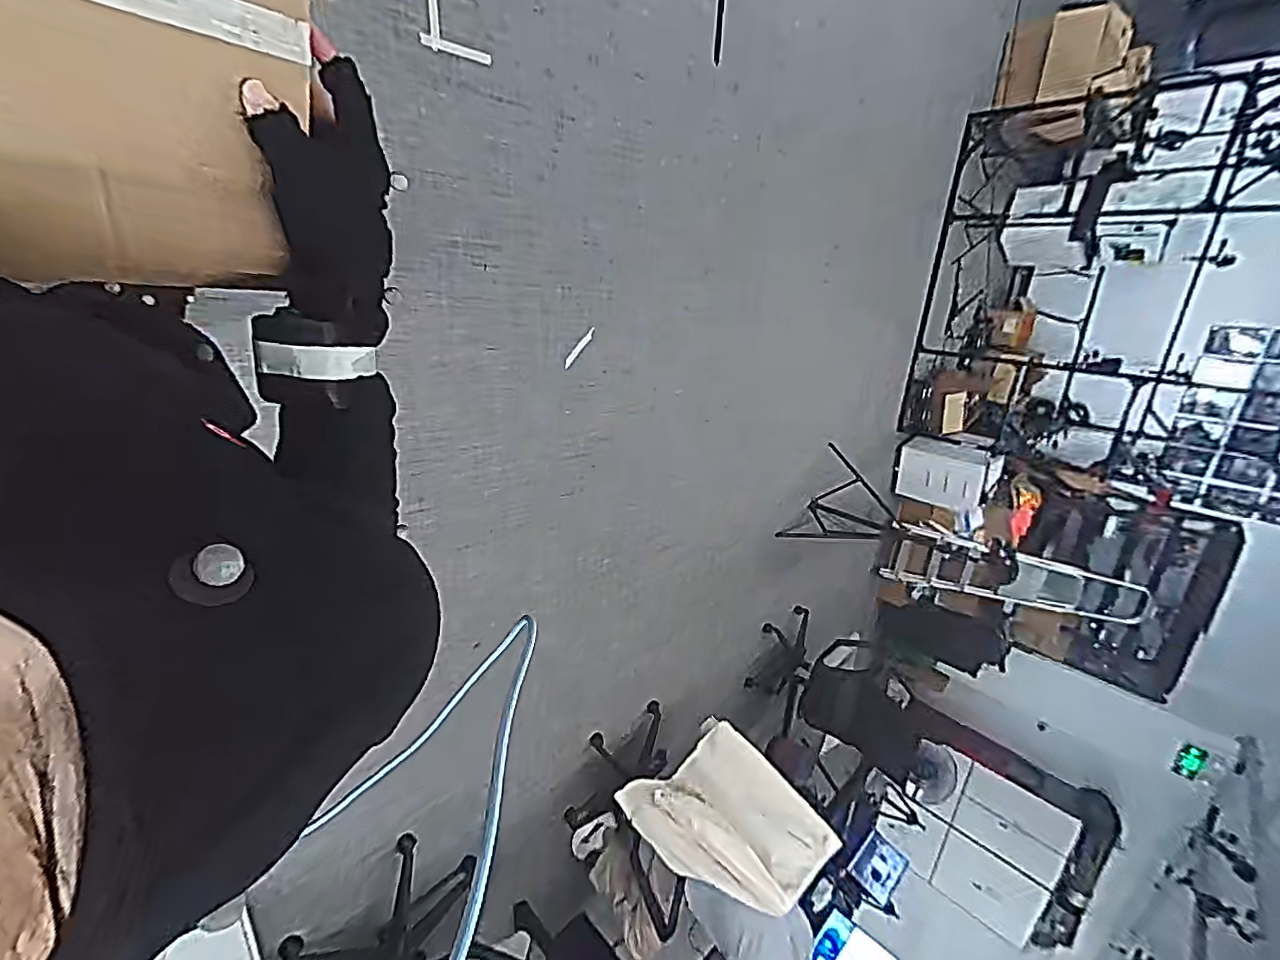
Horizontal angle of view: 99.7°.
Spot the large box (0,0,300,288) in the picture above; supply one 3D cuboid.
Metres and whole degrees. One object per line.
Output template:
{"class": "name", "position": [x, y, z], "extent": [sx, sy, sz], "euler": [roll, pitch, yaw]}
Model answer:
{"class": "large box", "position": [-0.433, -0.315, 0.251], "extent": [0.408, 0.320, 0.320], "euler": [-14, 145, -42]}
